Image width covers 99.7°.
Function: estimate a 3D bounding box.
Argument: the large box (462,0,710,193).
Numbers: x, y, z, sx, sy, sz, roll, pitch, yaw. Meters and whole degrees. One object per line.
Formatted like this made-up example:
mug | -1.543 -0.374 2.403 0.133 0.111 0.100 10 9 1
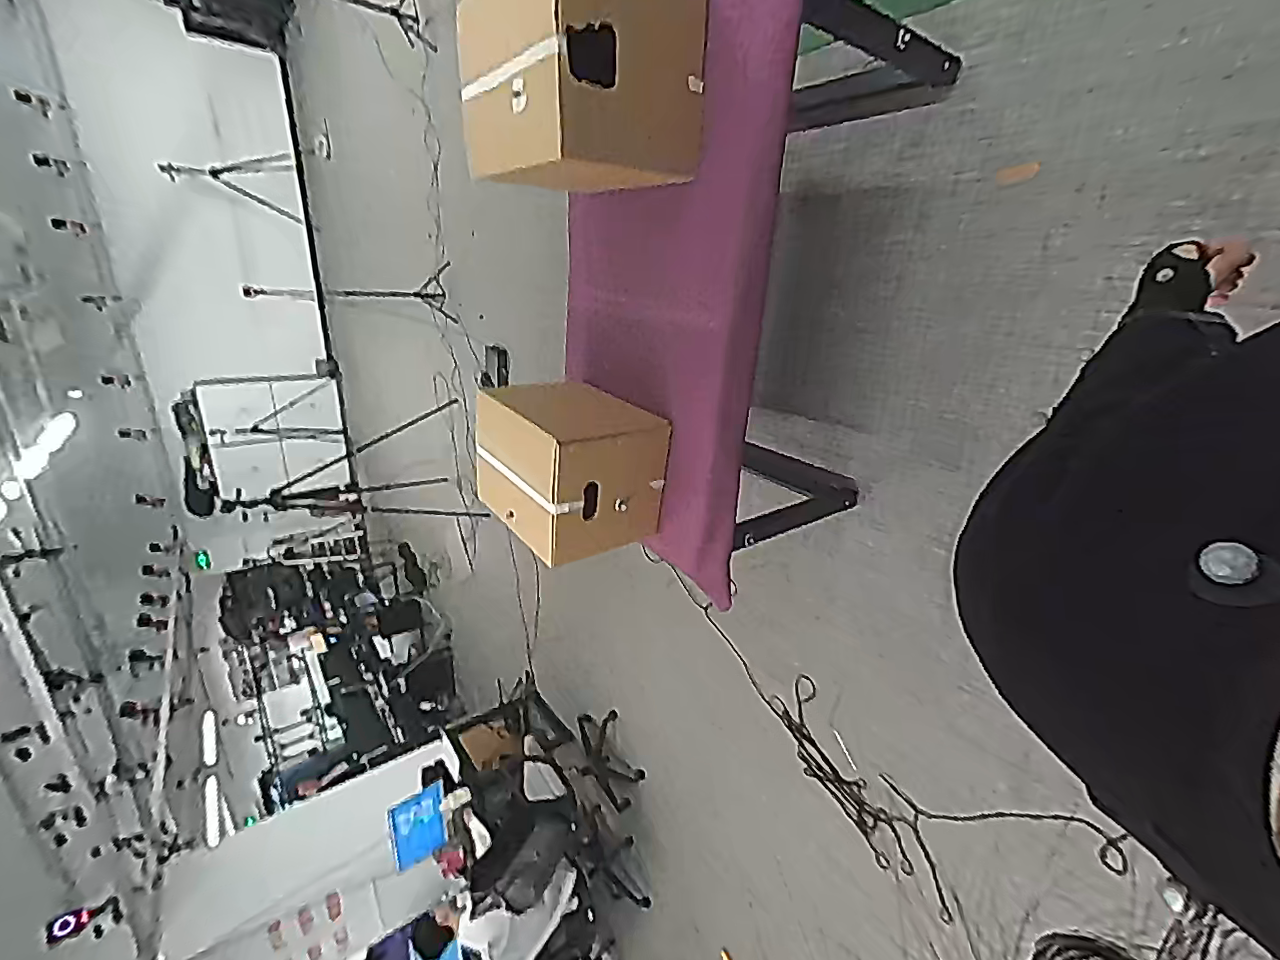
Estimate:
large box | -0.117 -0.773 1.069 0.408 0.320 0.320 26 123 46
